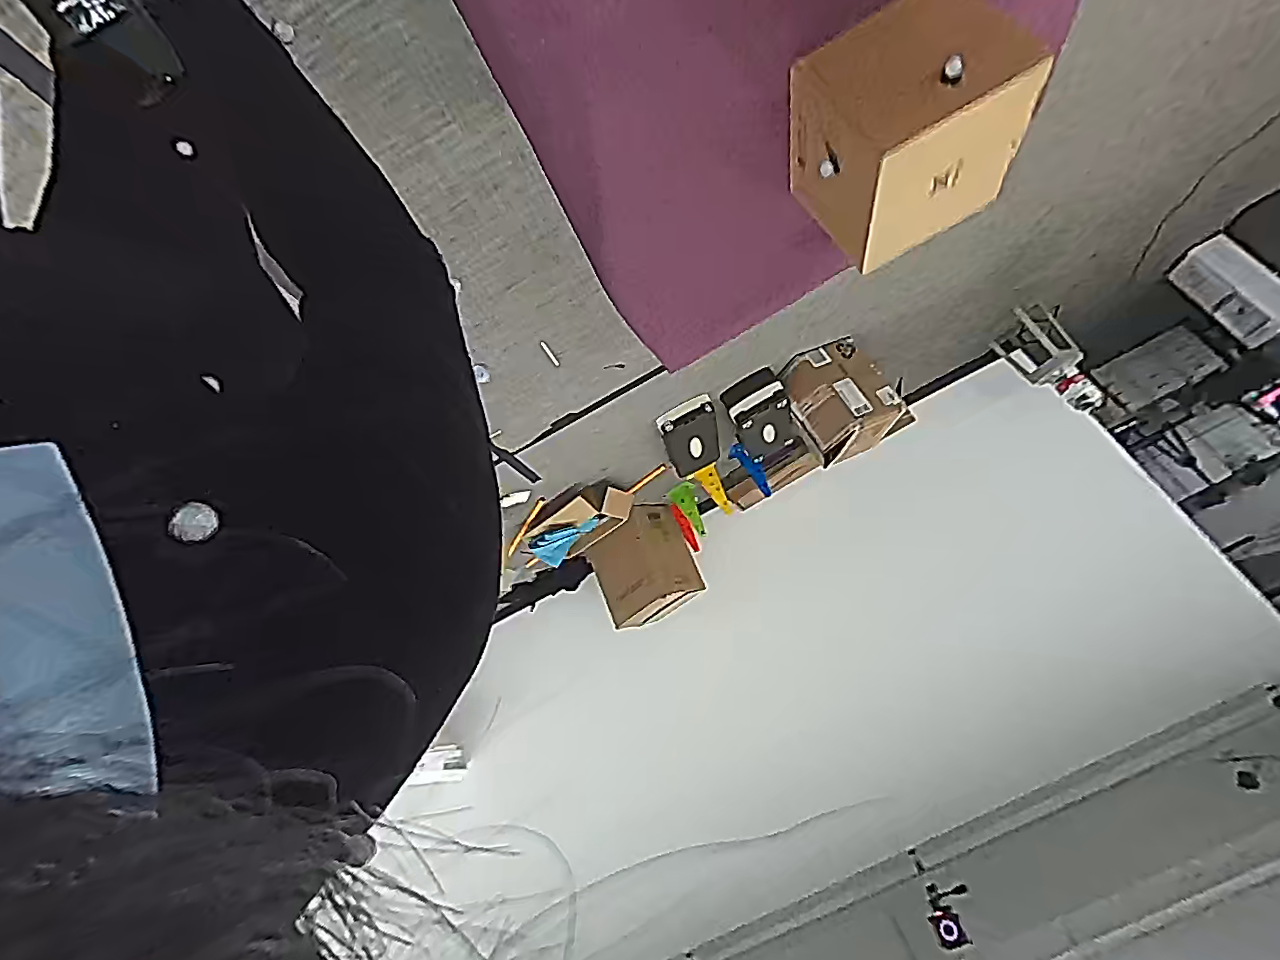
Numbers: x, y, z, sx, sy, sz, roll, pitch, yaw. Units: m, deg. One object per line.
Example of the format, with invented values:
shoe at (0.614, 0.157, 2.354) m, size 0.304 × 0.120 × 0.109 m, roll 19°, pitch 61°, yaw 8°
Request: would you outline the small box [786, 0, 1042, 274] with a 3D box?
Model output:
small box at (0.278, -0.378, 0.603) m, size 0.179 × 0.176 × 0.168 m, roll -29°, pitch 157°, yaw 4°
